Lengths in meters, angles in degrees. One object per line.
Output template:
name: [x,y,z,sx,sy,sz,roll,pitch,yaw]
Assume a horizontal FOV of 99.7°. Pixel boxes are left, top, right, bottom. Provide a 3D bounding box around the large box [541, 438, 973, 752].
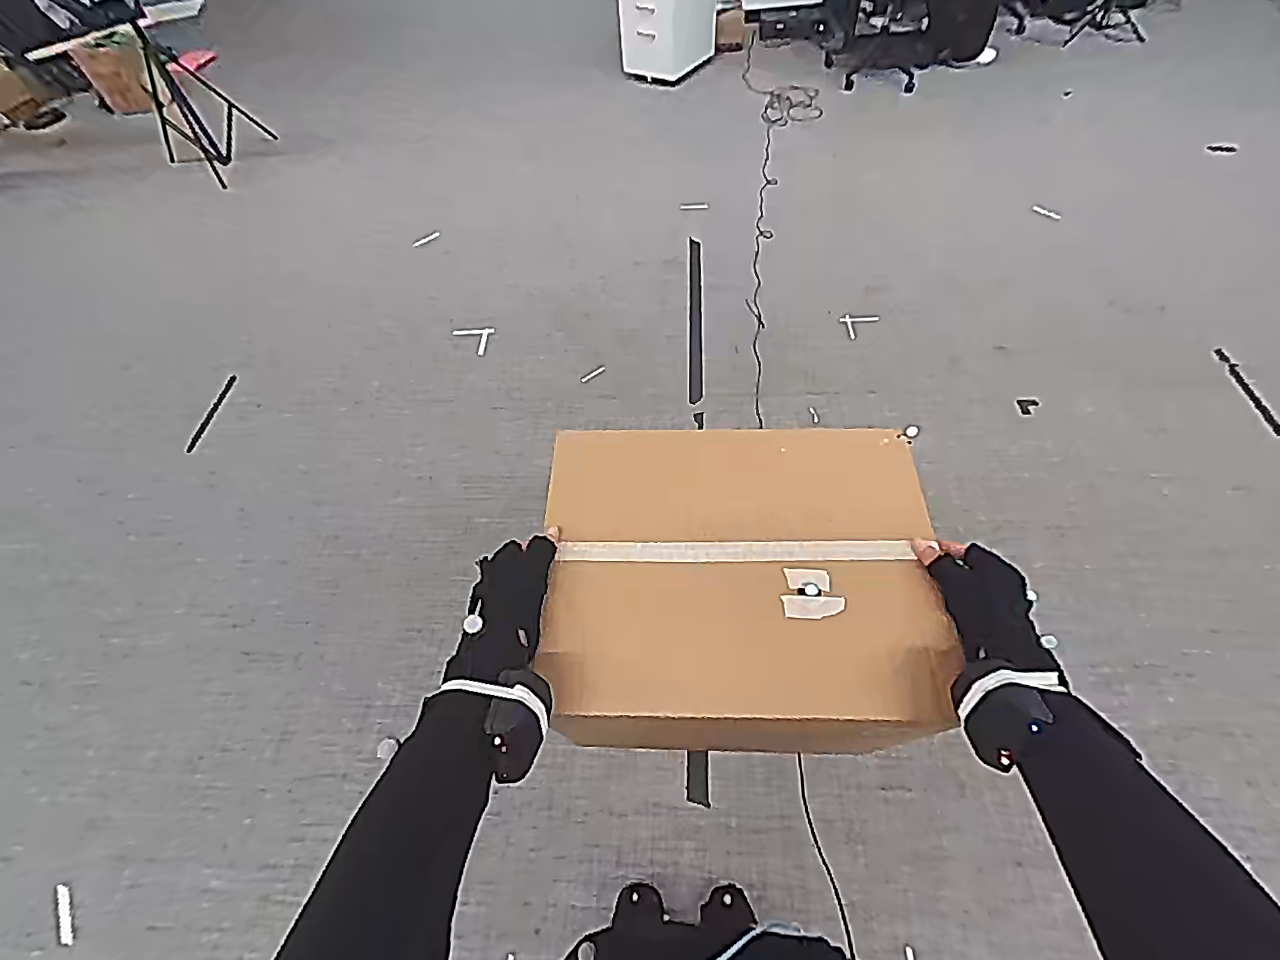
large box: [0.109,0.162,0.695,0.408,0.320,0.320,0,59,2]
